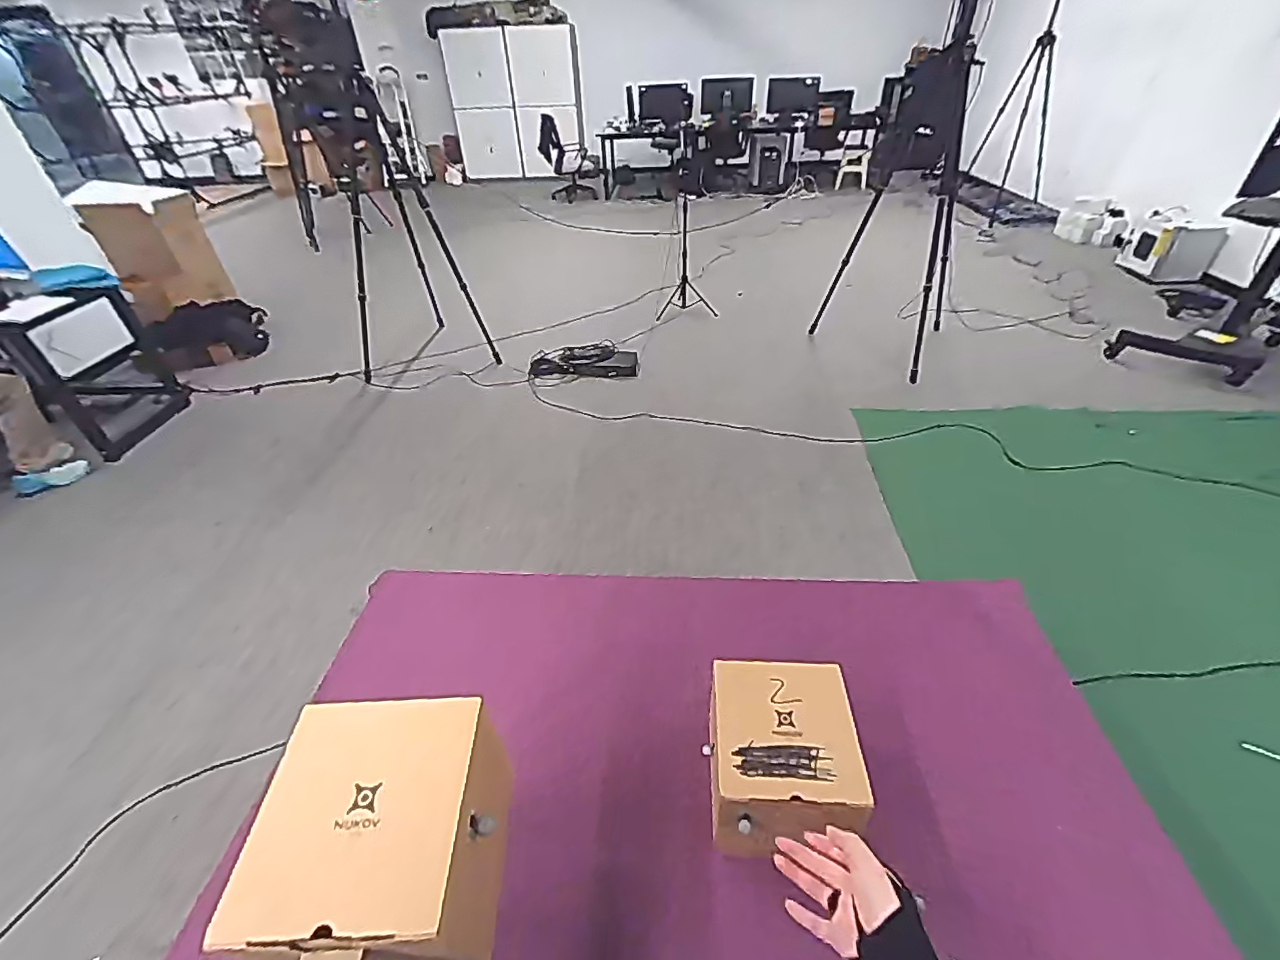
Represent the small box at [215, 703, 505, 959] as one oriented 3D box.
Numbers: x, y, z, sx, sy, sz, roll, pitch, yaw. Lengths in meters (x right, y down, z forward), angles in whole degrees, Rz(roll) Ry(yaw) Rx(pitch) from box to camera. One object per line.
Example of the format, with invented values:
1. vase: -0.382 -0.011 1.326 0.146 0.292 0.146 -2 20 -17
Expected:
1. small box: -0.229 0.332 0.505 0.168 0.176 0.179 -2 42 -1
